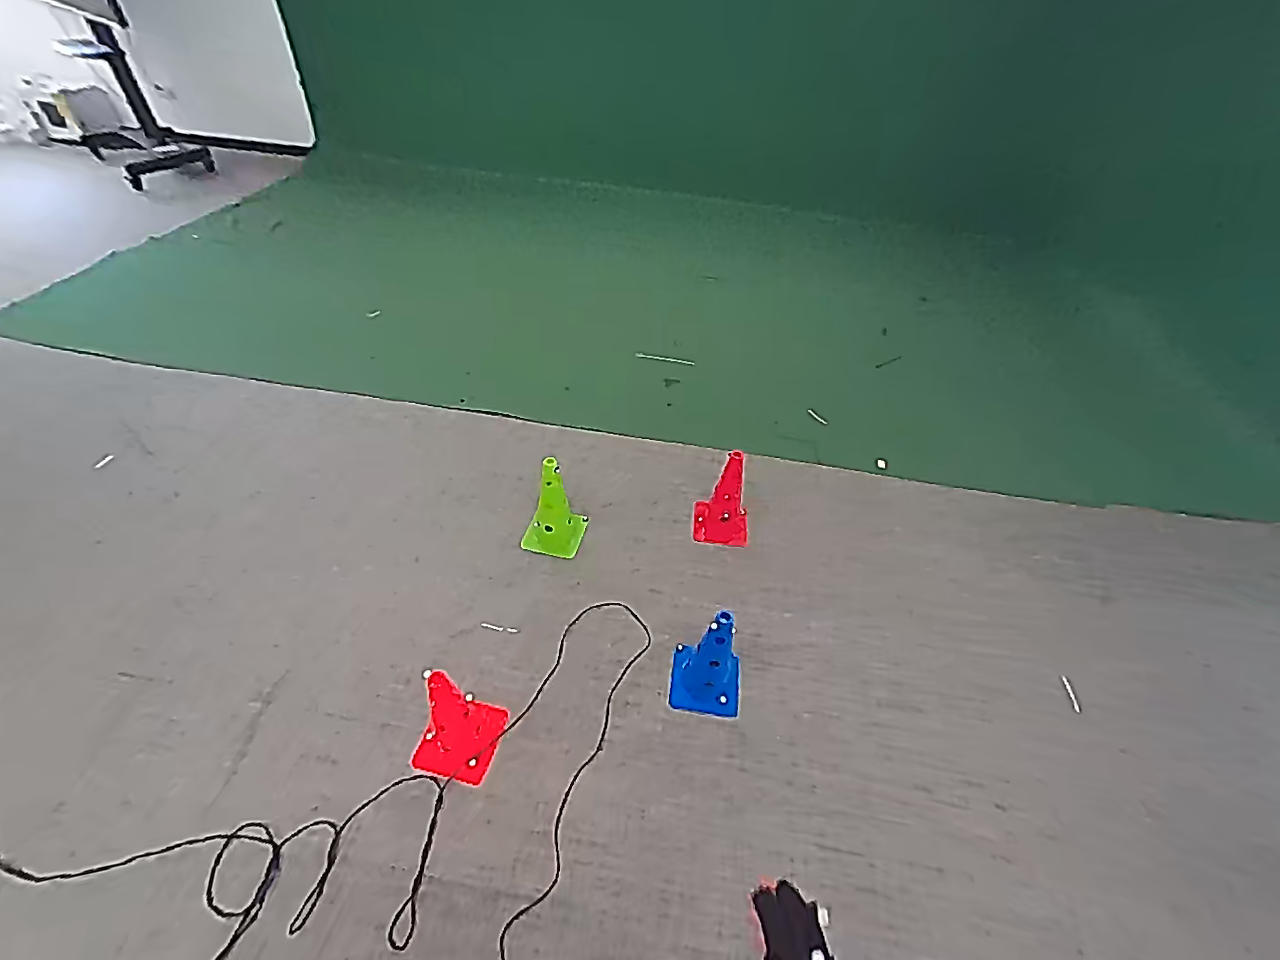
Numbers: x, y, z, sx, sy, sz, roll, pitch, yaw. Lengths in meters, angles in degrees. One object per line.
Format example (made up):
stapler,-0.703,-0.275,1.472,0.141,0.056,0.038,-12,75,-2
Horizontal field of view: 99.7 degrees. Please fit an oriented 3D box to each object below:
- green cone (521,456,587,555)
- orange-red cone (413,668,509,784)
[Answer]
green cone,-0.297,0.058,1.825,0.200,0.368,0.202,10,46,6
orange-red cone,-0.457,0.557,1.314,0.198,0.360,0.199,13,44,6
